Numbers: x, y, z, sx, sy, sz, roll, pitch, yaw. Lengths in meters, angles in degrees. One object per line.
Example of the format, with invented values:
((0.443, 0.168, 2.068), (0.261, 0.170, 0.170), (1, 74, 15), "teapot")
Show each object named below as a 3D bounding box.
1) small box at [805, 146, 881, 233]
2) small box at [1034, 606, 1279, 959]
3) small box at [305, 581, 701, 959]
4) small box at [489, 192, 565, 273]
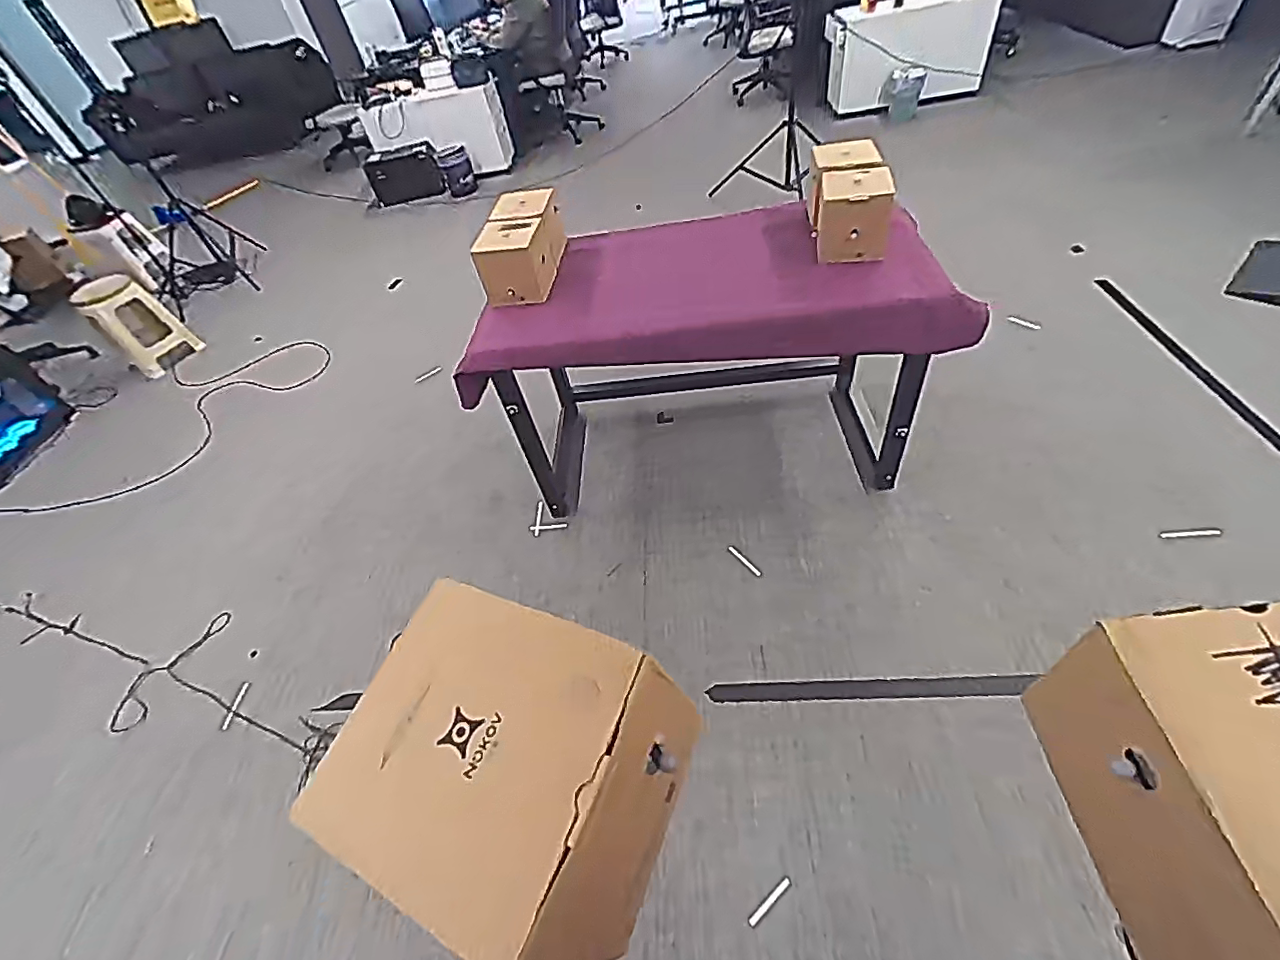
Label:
((0.571, -0.829, 1.545), (0.168, 0.176, 0.179), (-1, 48, 9), "small box")
((0.385, 0.191, 0.328), (0.168, 0.176, 0.179), (-10, 51, 10), "small box")
((-0.072, 0.198, 0.382), (0.179, 0.176, 0.168), (10, 58, 28), "small box")
((-0.337, -0.757, 1.659), (0.168, 0.176, 0.179), (-2, 50, 10), "small box")
